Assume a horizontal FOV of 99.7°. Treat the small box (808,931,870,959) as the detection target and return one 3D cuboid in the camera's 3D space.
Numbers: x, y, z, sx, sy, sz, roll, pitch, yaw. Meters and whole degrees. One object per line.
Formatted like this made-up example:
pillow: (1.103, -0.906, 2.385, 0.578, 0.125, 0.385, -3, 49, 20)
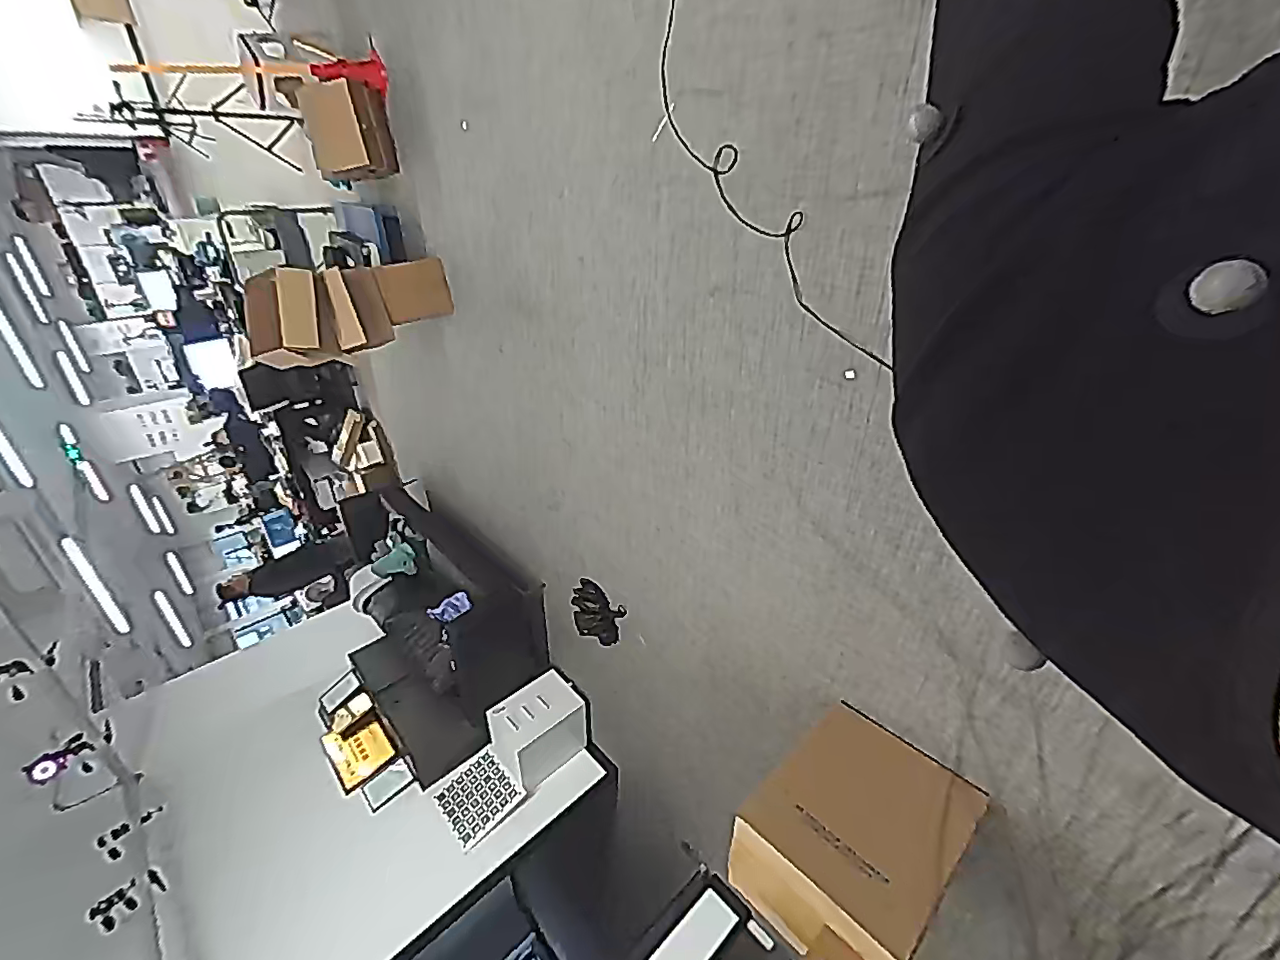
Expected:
small box: (0.532, 1.352, 1.430, 0.179, 0.176, 0.168, 24, 124, 41)
